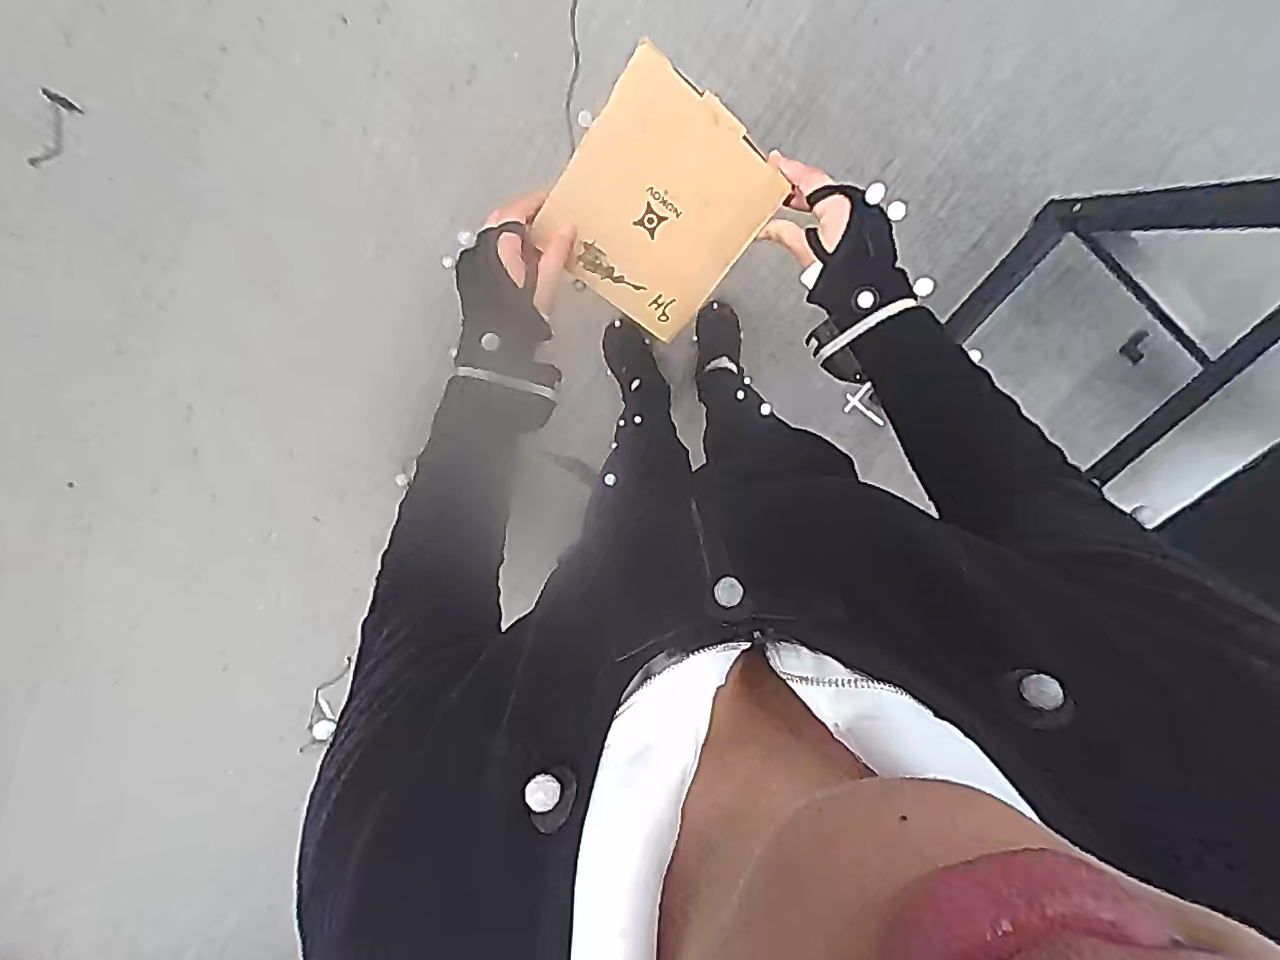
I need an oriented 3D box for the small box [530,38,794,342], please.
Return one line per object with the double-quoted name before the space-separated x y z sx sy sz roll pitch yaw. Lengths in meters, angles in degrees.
"small box" 0.013 -0.274 0.529 0.168 0.176 0.179 32 116 -21
